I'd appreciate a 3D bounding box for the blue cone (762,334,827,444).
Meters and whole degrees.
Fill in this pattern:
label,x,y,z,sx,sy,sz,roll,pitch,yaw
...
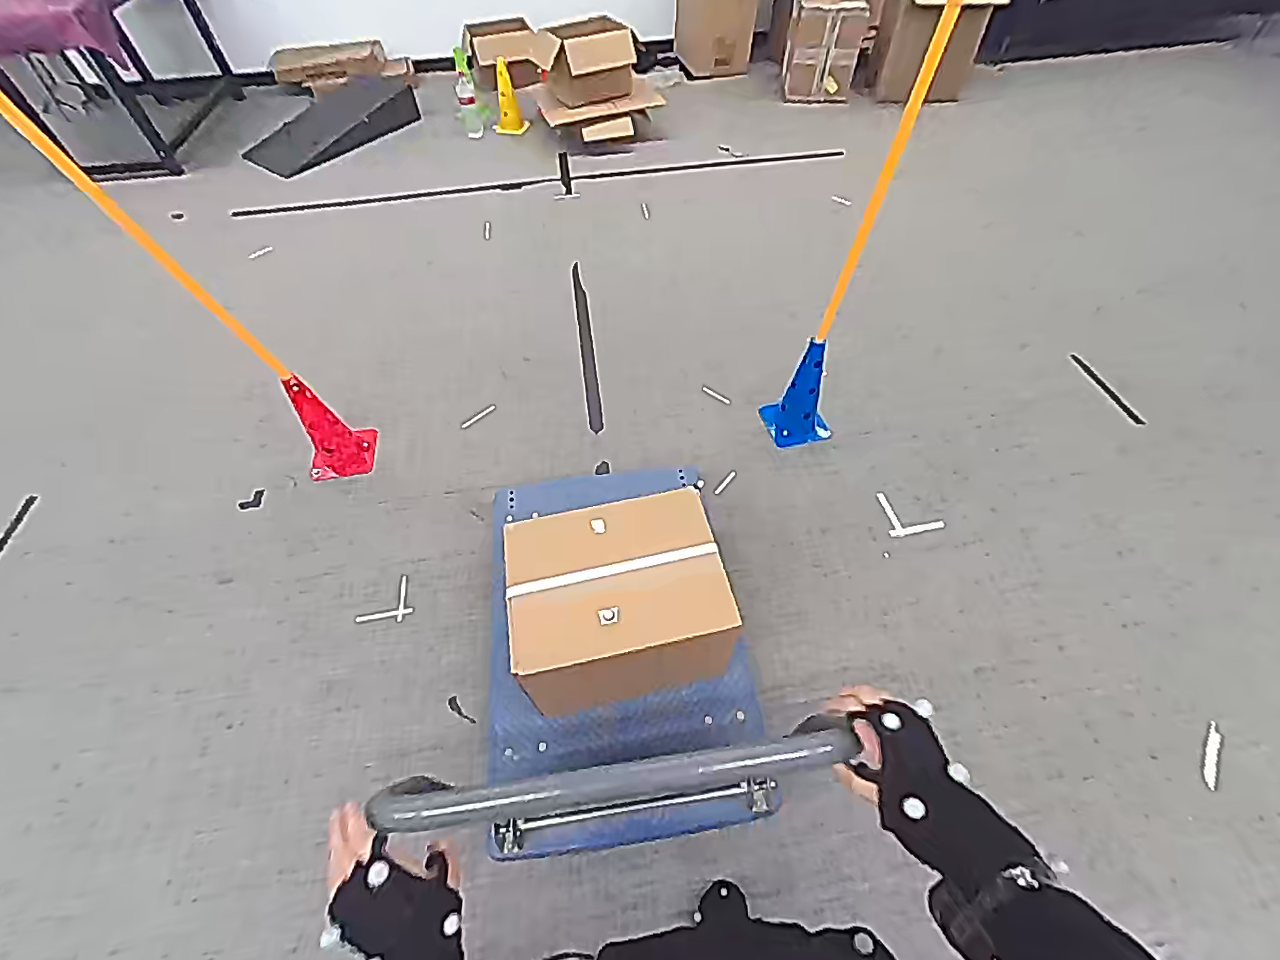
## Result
label,x,y,z,sx,sy,sz,roll,pitch,yaw
blue cone,0.536,-0.302,1.751,0.193,0.380,0.192,-11,53,-7
